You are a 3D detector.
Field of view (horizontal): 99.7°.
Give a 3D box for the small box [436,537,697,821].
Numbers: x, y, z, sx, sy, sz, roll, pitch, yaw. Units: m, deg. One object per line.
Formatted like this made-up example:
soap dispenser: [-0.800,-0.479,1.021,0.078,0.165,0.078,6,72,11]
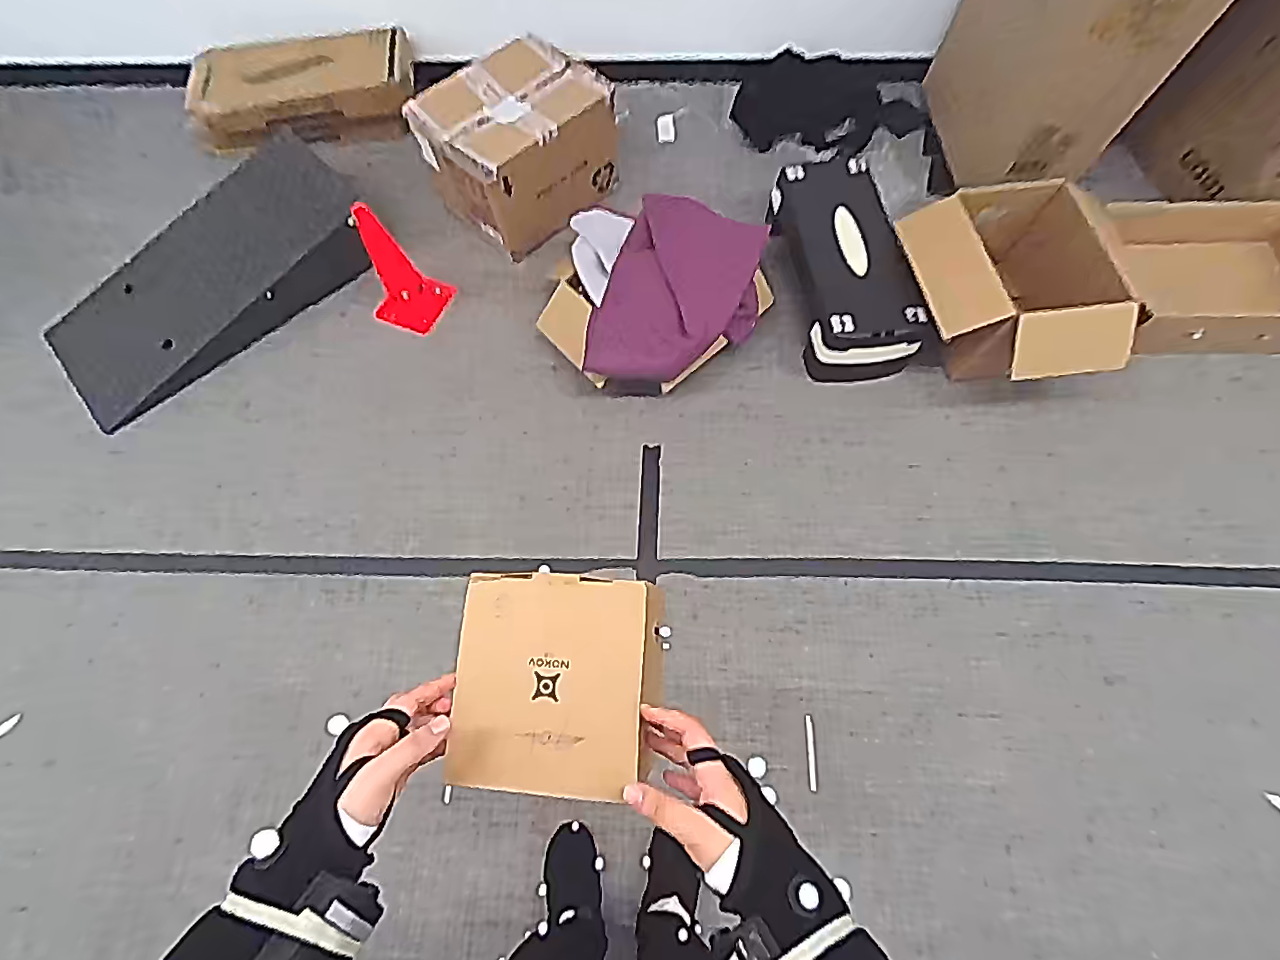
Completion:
small box: [-0.041,0.146,0.446,0.168,0.176,0.179,0,78,9]
